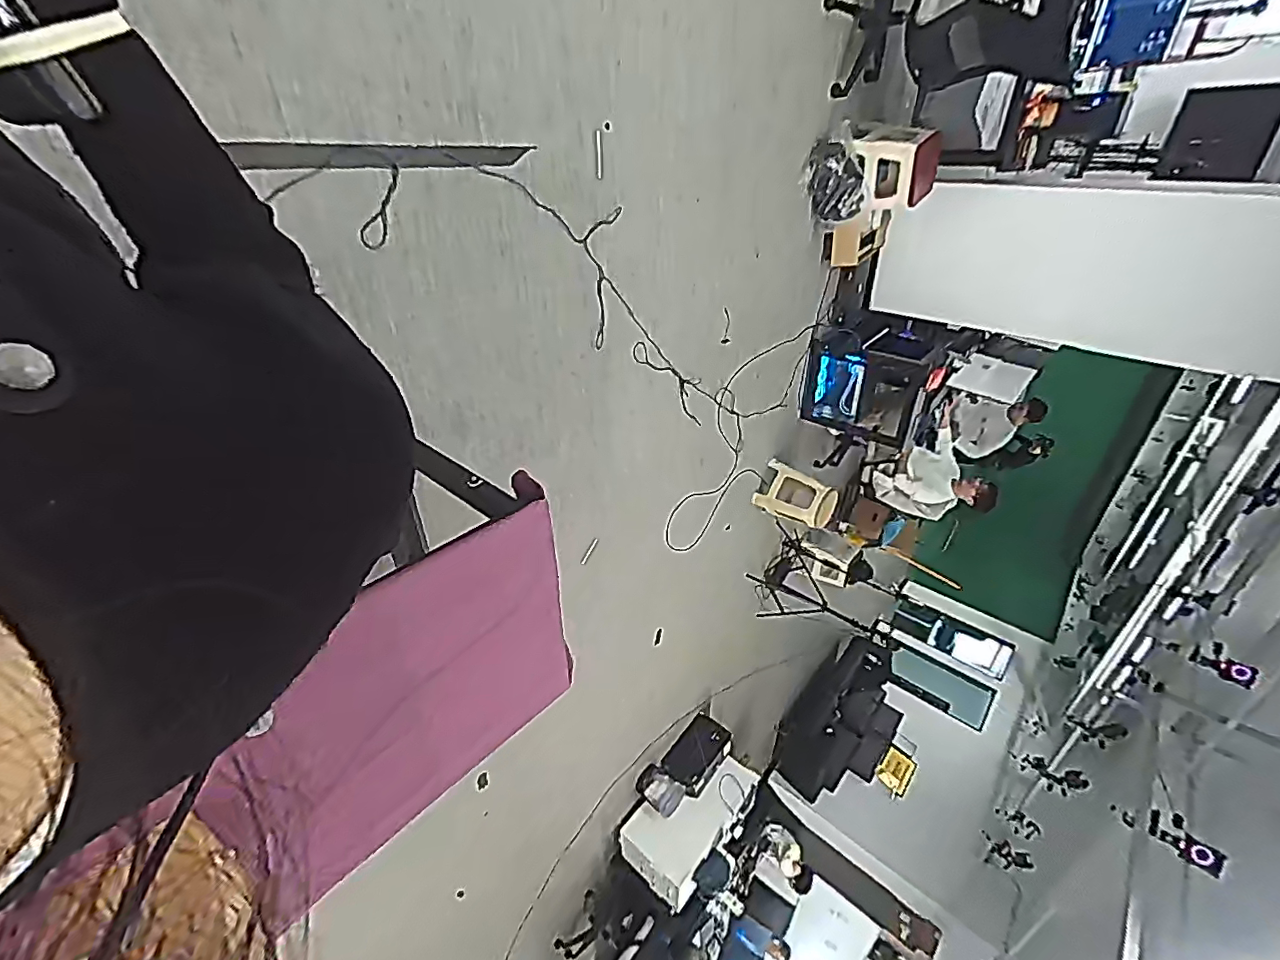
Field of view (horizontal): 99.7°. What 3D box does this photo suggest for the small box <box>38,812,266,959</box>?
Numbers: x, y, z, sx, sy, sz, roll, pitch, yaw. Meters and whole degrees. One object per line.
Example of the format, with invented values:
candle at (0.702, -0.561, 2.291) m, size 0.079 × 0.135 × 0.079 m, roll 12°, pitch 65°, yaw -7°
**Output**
small box at (-0.660, 0.611, 0.735) m, size 0.179 × 0.176 × 0.168 m, roll -32°, pitch 135°, yaw -38°
